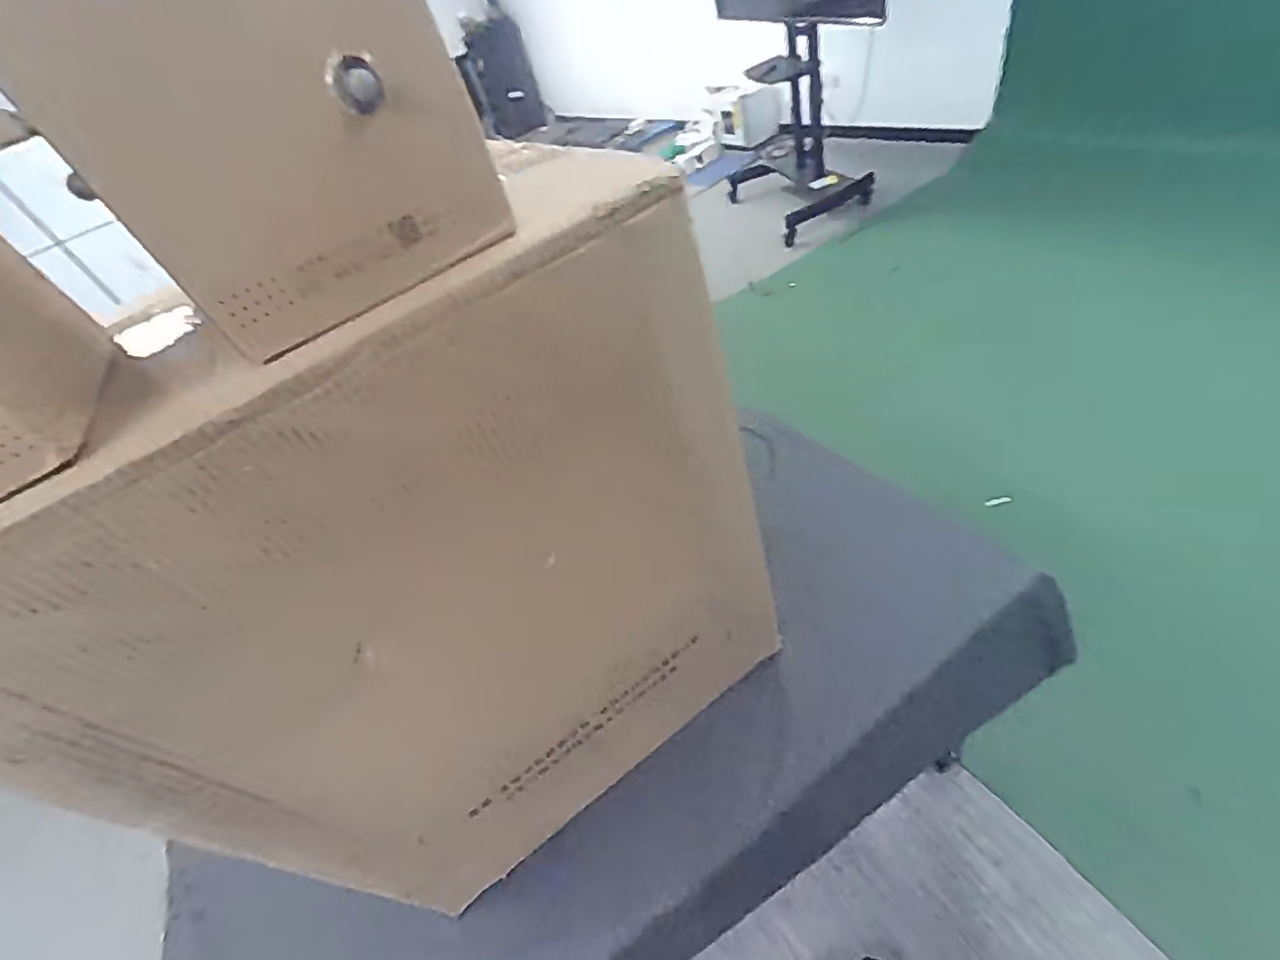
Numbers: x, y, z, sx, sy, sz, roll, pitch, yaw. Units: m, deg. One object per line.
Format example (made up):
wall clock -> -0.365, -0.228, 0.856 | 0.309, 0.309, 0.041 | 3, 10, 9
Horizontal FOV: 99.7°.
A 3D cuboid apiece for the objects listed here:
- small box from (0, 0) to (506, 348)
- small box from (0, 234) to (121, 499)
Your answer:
small box -> -0.202, -0.199, 0.309 | 0.168, 0.176, 0.179 | -33, 44, -14
small box -> -0.405, -0.065, 0.254 | 0.168, 0.176, 0.179 | -34, 46, -13
